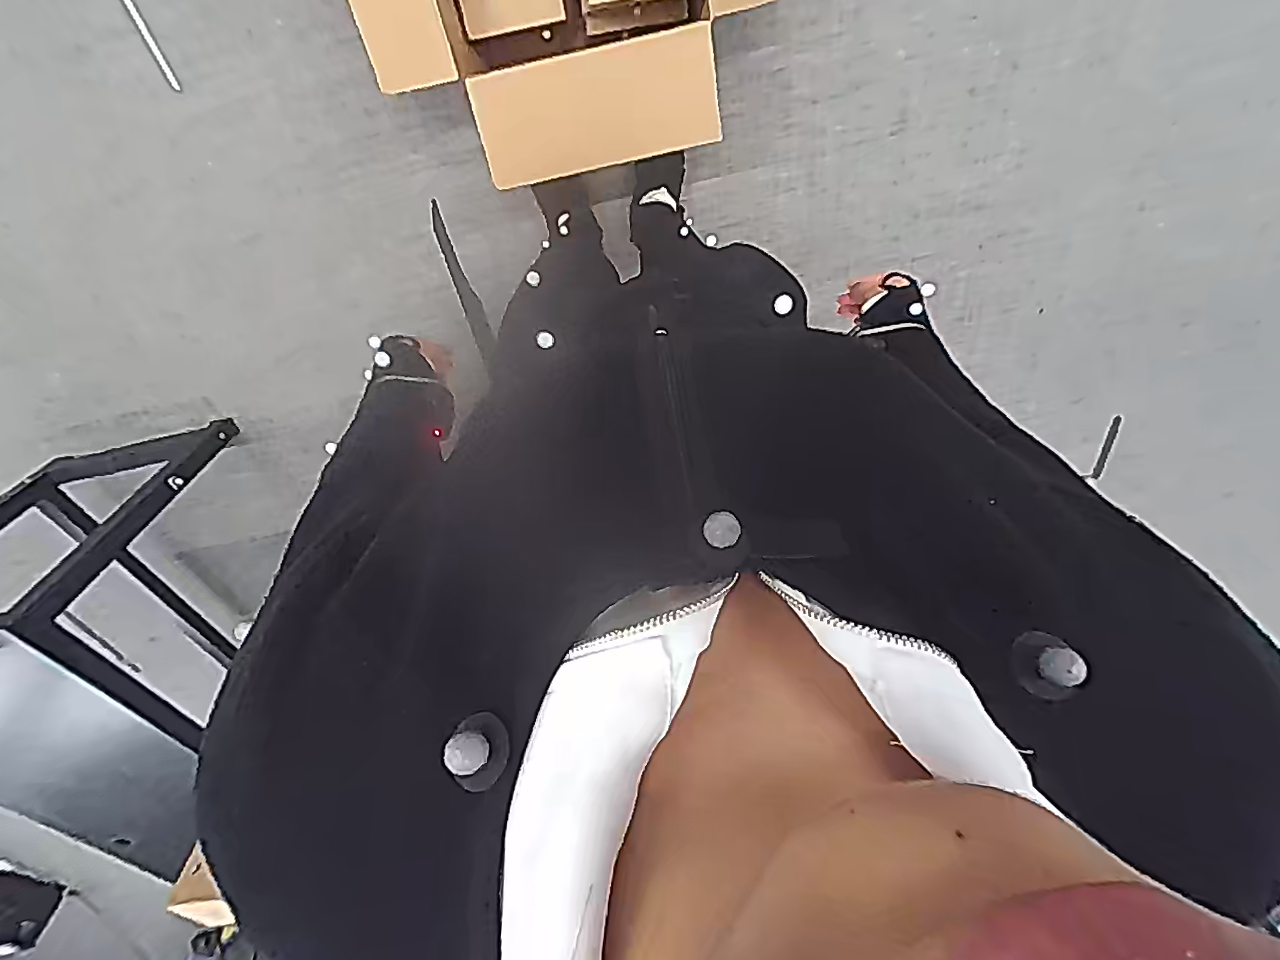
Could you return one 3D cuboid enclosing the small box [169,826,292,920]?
[{"bbox_3d":[-1.113,1.073,1.486,0.168,0.176,0.179,-12,128,7],"label":"small box"}]
